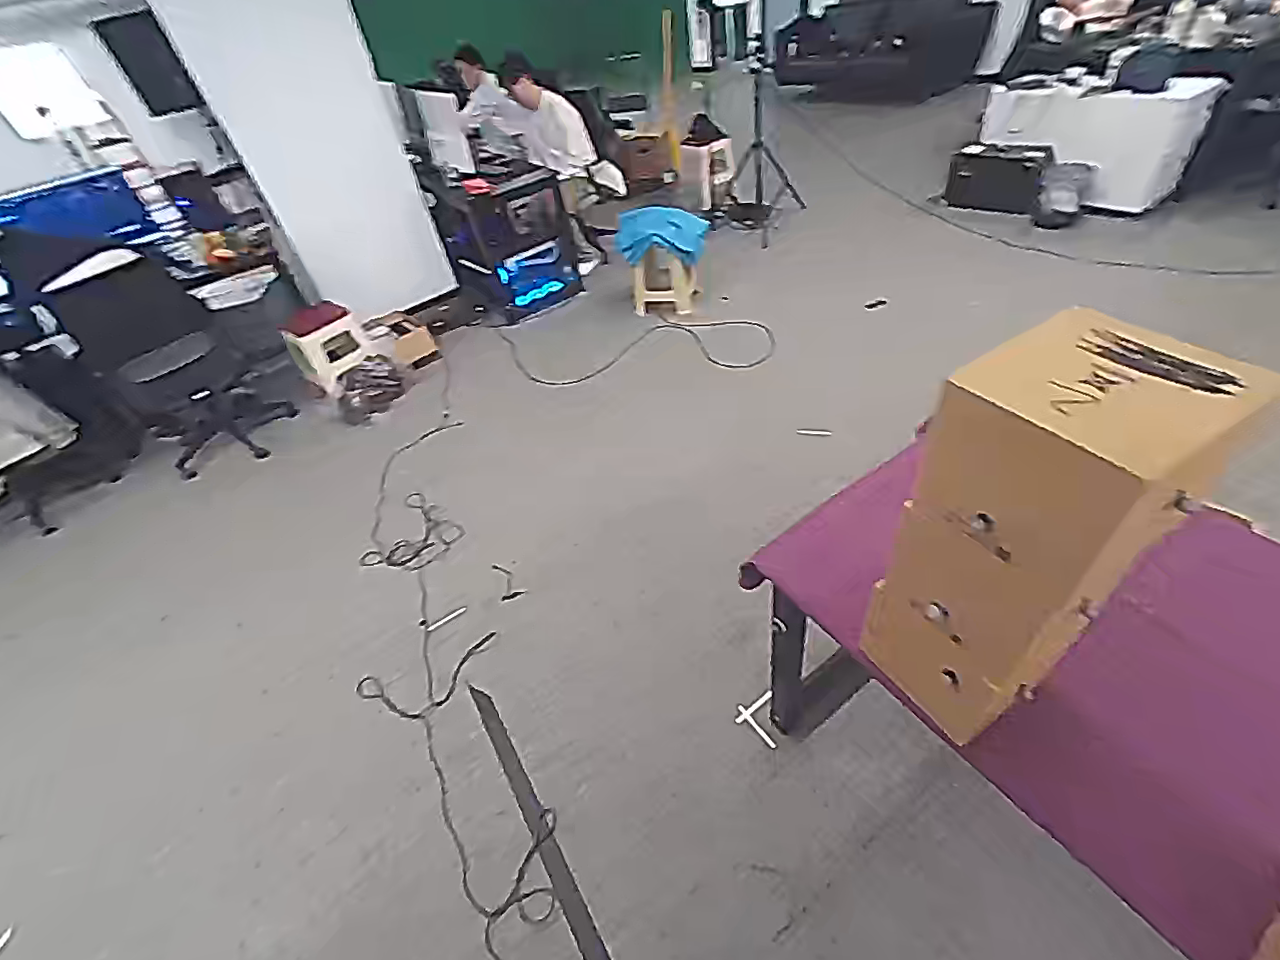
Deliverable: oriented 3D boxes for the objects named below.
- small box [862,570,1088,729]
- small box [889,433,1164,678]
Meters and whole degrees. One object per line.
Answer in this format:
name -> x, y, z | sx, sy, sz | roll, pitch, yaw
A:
small box -> 0.427, 0.203, 0.723 | 0.168, 0.176, 0.179 | -27, 45, -15
small box -> 0.410, 0.084, 0.610 | 0.179, 0.176, 0.168 | -29, 46, -15
